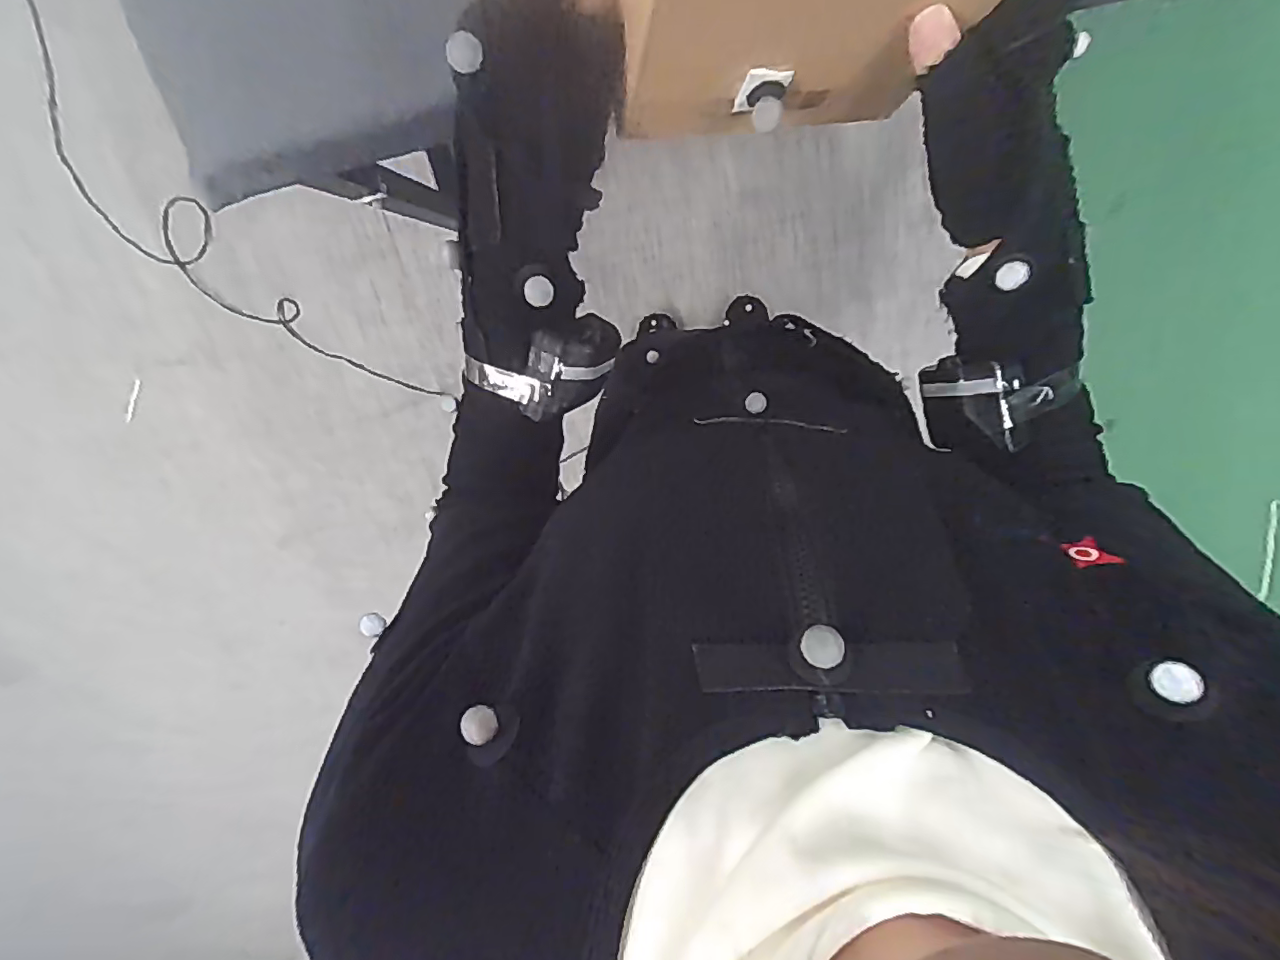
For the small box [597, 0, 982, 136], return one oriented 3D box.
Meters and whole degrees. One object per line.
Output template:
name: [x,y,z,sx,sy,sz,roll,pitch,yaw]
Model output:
small box: [0.065,-0.288,0.230,0.168,0.176,0.179,-11,94,-9]
